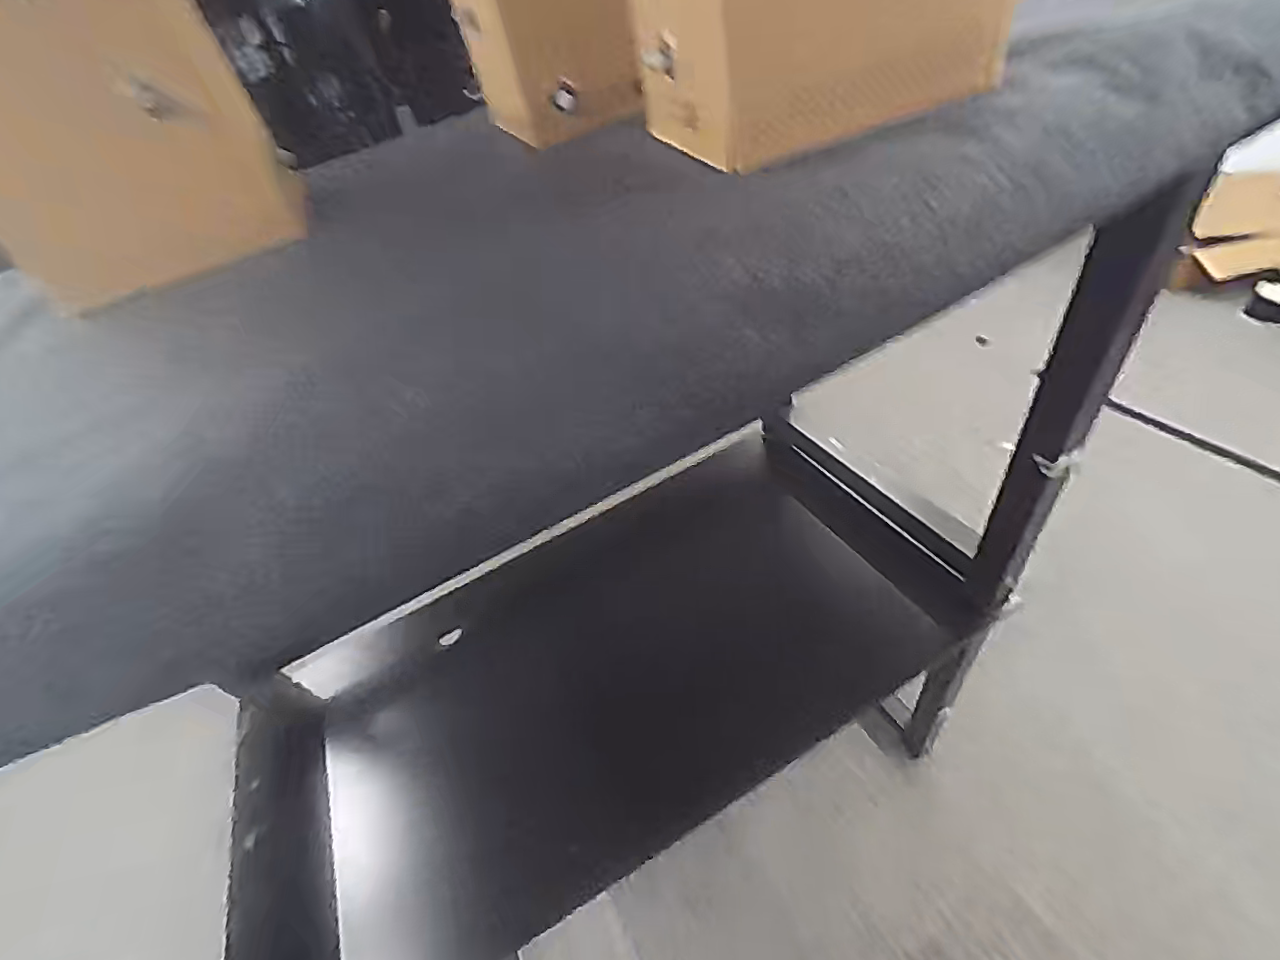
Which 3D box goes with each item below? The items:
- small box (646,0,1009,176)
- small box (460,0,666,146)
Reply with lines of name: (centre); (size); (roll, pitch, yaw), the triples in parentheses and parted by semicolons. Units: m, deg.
small box: (0.102, -0.313, 0.327); (0.179, 0.176, 0.168); (-21, 42, -3)
small box: (-0.061, -0.427, 0.492); (0.168, 0.176, 0.179); (-25, 44, -9)
